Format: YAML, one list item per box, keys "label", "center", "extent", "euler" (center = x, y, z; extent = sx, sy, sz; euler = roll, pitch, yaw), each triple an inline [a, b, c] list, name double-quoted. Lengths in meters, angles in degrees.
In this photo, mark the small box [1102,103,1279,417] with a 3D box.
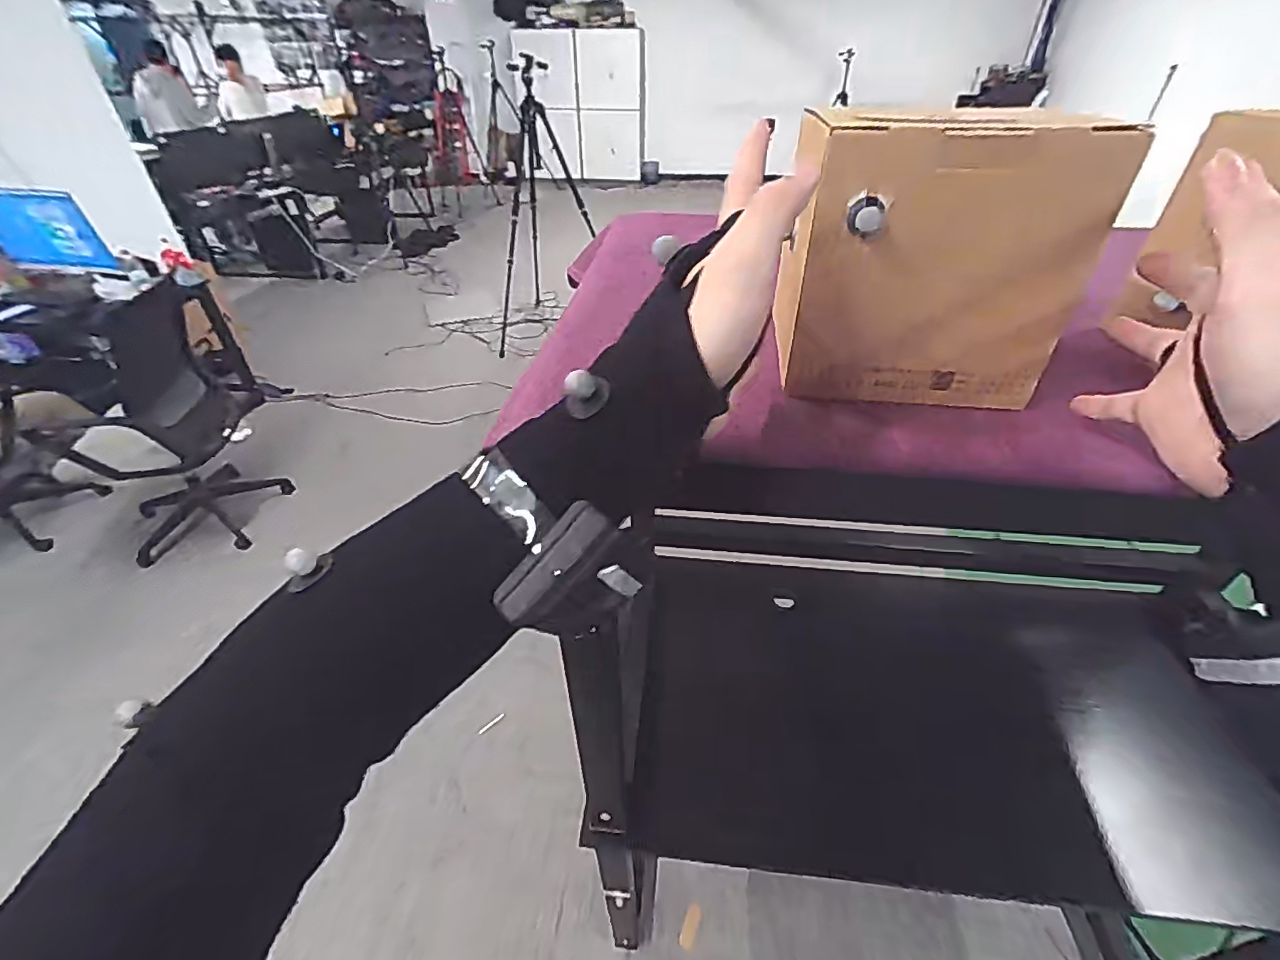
- label: "small box"
  center: [0.482, -0.148, 0.368]
  extent: [0.179, 0.176, 0.168]
  euler: [6, 38, 11]
